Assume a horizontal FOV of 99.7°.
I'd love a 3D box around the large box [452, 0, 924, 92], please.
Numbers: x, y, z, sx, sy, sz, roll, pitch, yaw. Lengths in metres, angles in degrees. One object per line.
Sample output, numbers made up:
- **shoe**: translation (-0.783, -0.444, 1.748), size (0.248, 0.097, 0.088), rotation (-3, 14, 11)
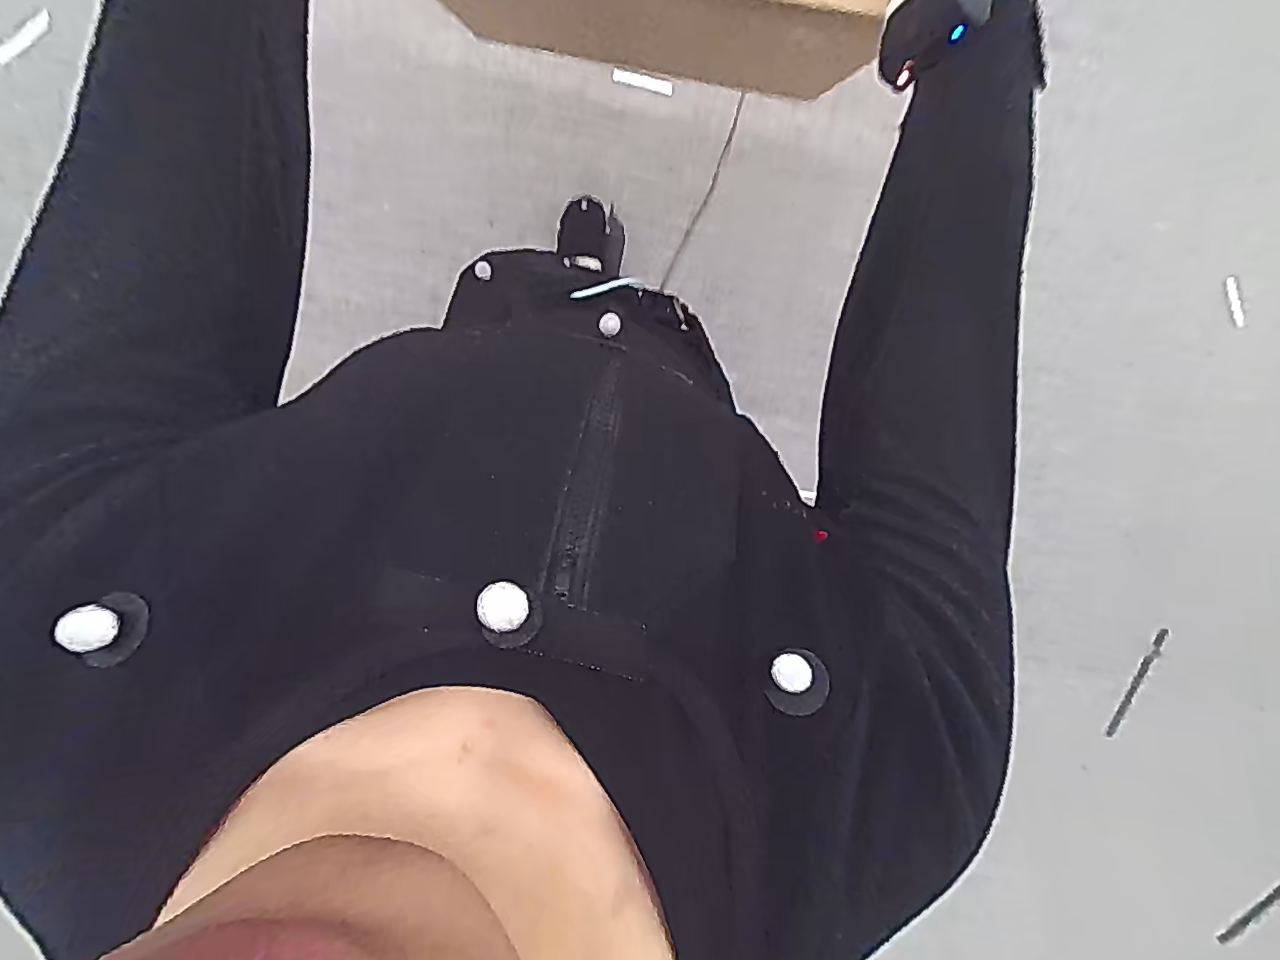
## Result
- **large box**: translation (0.029, -0.559, 0.440), size (0.408, 0.320, 0.320), rotation (9, 118, -3)
